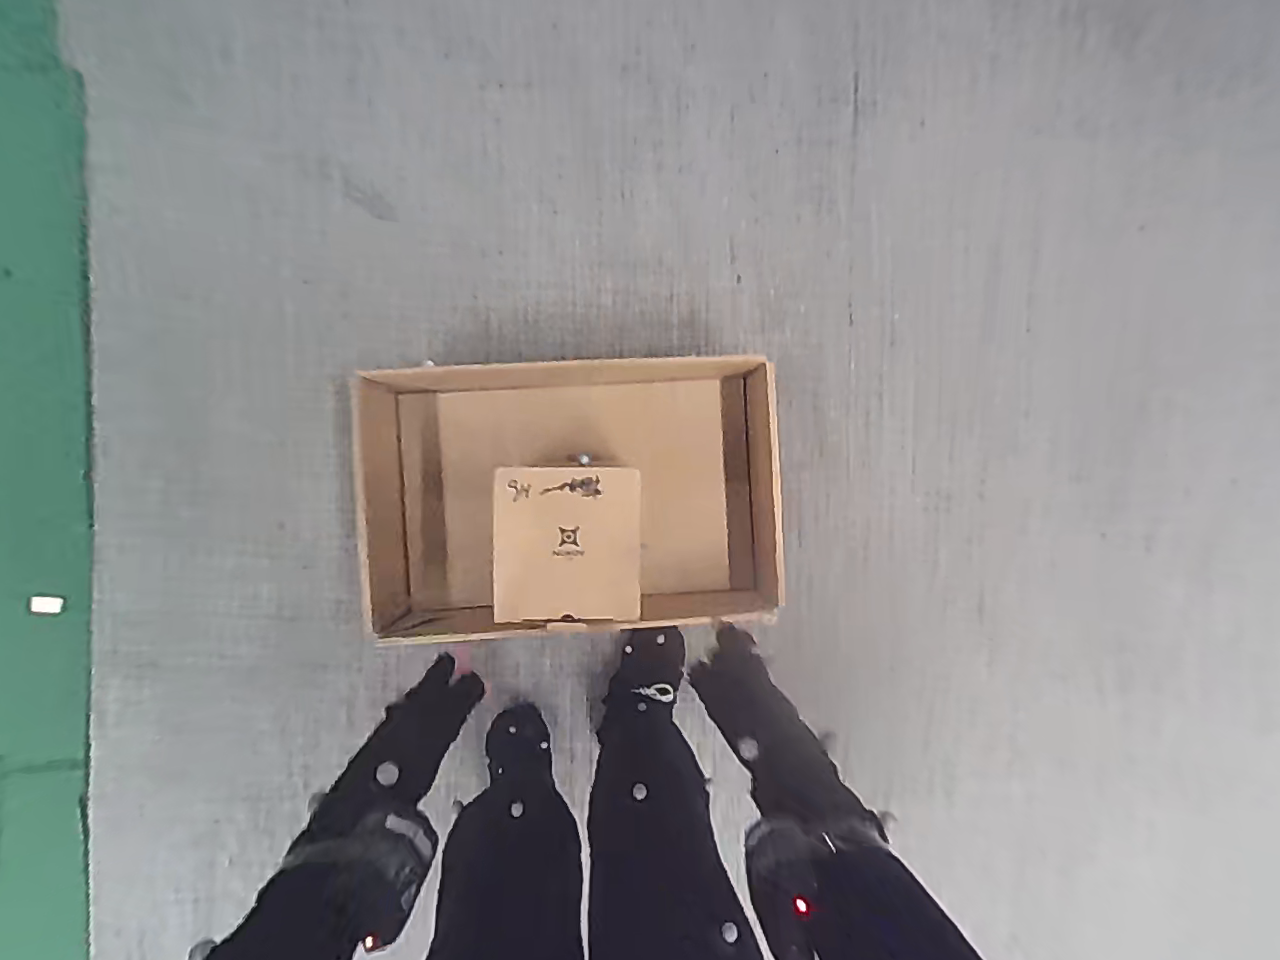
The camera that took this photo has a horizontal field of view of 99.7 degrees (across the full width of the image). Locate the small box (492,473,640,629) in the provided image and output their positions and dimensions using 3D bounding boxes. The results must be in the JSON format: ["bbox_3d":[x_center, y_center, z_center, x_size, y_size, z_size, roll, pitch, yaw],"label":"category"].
[{"bbox_3d":[-0.088,0.081,0.691,0.168,0.176,0.179,1,90,-4],"label":"small box"}]
